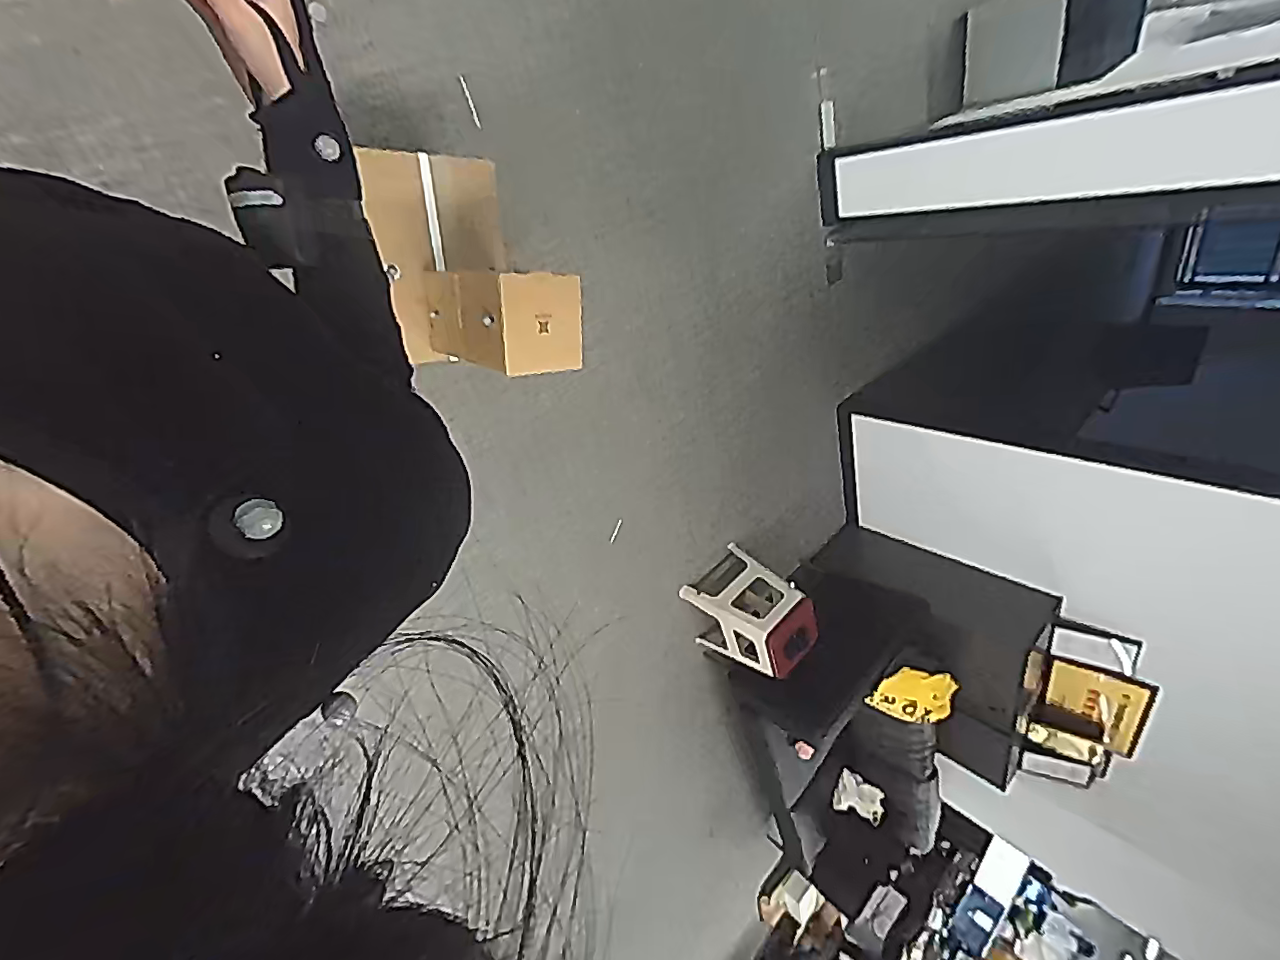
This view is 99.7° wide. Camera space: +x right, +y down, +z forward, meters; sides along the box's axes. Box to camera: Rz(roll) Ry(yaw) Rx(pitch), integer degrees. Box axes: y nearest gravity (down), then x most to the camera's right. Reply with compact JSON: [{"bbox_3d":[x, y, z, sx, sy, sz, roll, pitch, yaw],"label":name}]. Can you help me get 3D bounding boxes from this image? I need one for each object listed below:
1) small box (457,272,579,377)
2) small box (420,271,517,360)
[{"bbox_3d":[-0.232,-0.301,1.029,0.168,0.176,0.179,-16,116,-39],"label":"small box"},{"bbox_3d":[-0.338,-0.353,1.141,0.179,0.176,0.168,-18,117,-38],"label":"small box"}]
